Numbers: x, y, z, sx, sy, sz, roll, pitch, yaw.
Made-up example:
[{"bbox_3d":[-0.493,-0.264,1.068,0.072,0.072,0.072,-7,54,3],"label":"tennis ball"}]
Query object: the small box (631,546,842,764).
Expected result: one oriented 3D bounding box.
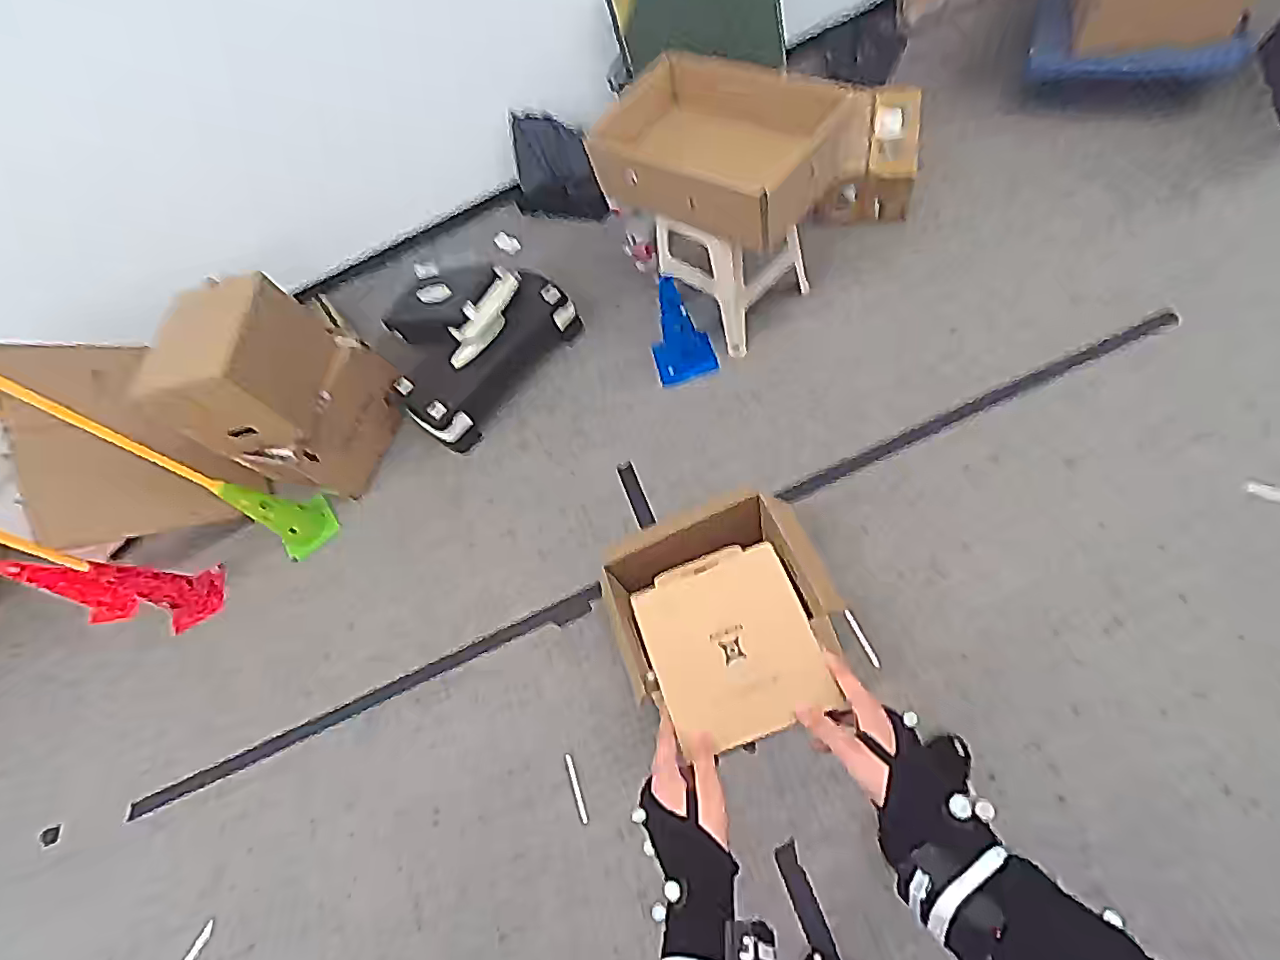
[{"bbox_3d":[0.102,0.203,0.620,0.168,0.176,0.179,-22,64,1],"label":"small box"}]
